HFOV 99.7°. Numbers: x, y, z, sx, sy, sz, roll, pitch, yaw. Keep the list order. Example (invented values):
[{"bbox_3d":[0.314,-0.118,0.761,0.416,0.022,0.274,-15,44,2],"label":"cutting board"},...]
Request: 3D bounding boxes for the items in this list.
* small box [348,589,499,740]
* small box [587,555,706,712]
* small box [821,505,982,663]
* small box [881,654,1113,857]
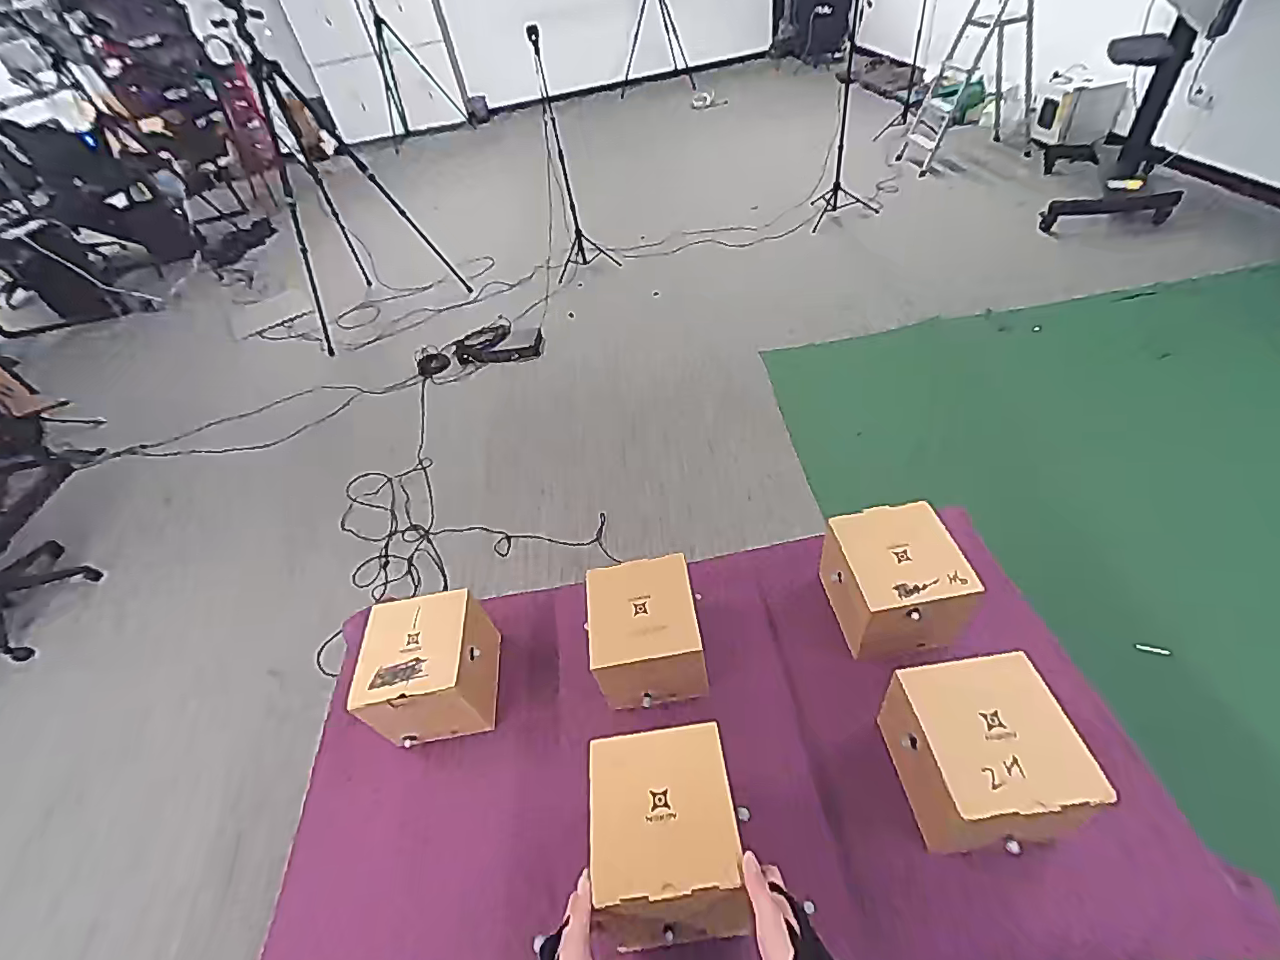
[{"bbox_3d":[-0.342,0.311,0.896,0.168,0.176,0.179,-10,44,1],"label":"small box"},{"bbox_3d":[0.011,0.251,0.884,0.168,0.176,0.179,-10,46,3],"label":"small box"},{"bbox_3d":[0.405,0.169,0.877,0.168,0.176,0.179,-11,45,2],"label":"small box"},{"bbox_3d":[0.427,0.351,0.690,0.168,0.176,0.179,-10,43,4],"label":"small box"}]
